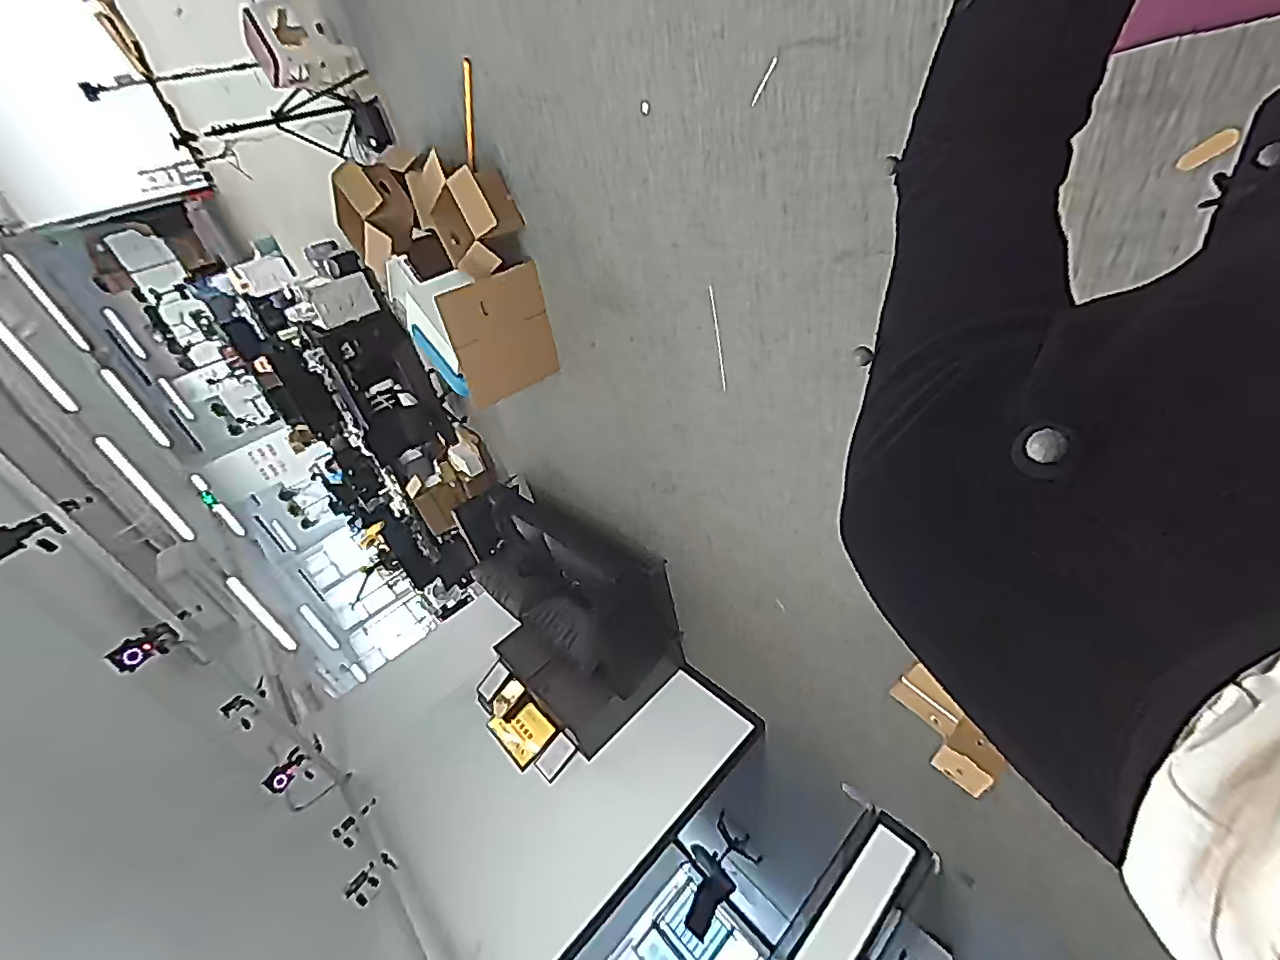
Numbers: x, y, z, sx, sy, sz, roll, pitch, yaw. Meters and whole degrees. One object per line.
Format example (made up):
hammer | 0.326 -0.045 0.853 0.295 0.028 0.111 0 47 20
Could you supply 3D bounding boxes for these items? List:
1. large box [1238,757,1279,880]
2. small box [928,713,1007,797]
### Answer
large box | 1.860 0.964 1.350 0.320 0.320 0.408 57 151 -6
small box | 1.154 0.961 1.900 0.168 0.176 0.179 34 144 34
